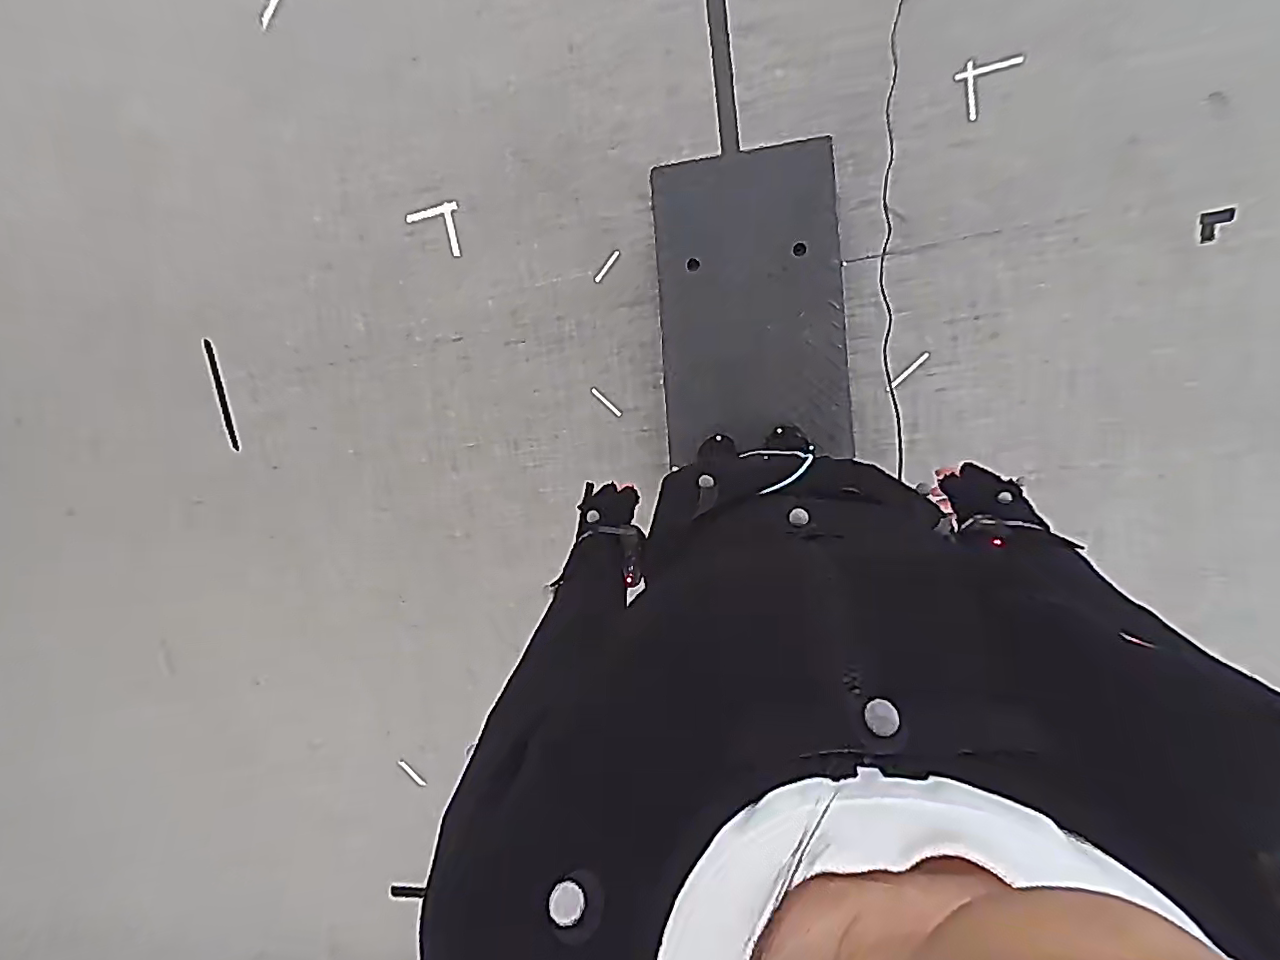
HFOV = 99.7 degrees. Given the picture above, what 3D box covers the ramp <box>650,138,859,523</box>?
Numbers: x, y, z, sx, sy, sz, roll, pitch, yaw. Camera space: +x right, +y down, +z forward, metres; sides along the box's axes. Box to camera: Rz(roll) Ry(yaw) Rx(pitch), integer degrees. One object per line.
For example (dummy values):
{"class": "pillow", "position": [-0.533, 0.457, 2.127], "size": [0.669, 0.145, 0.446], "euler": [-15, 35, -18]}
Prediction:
{"class": "ramp", "position": [0.296, -0.392, 1.467], "size": [0.509, 0.206, 0.991], "euler": [-6, 98, 13]}
